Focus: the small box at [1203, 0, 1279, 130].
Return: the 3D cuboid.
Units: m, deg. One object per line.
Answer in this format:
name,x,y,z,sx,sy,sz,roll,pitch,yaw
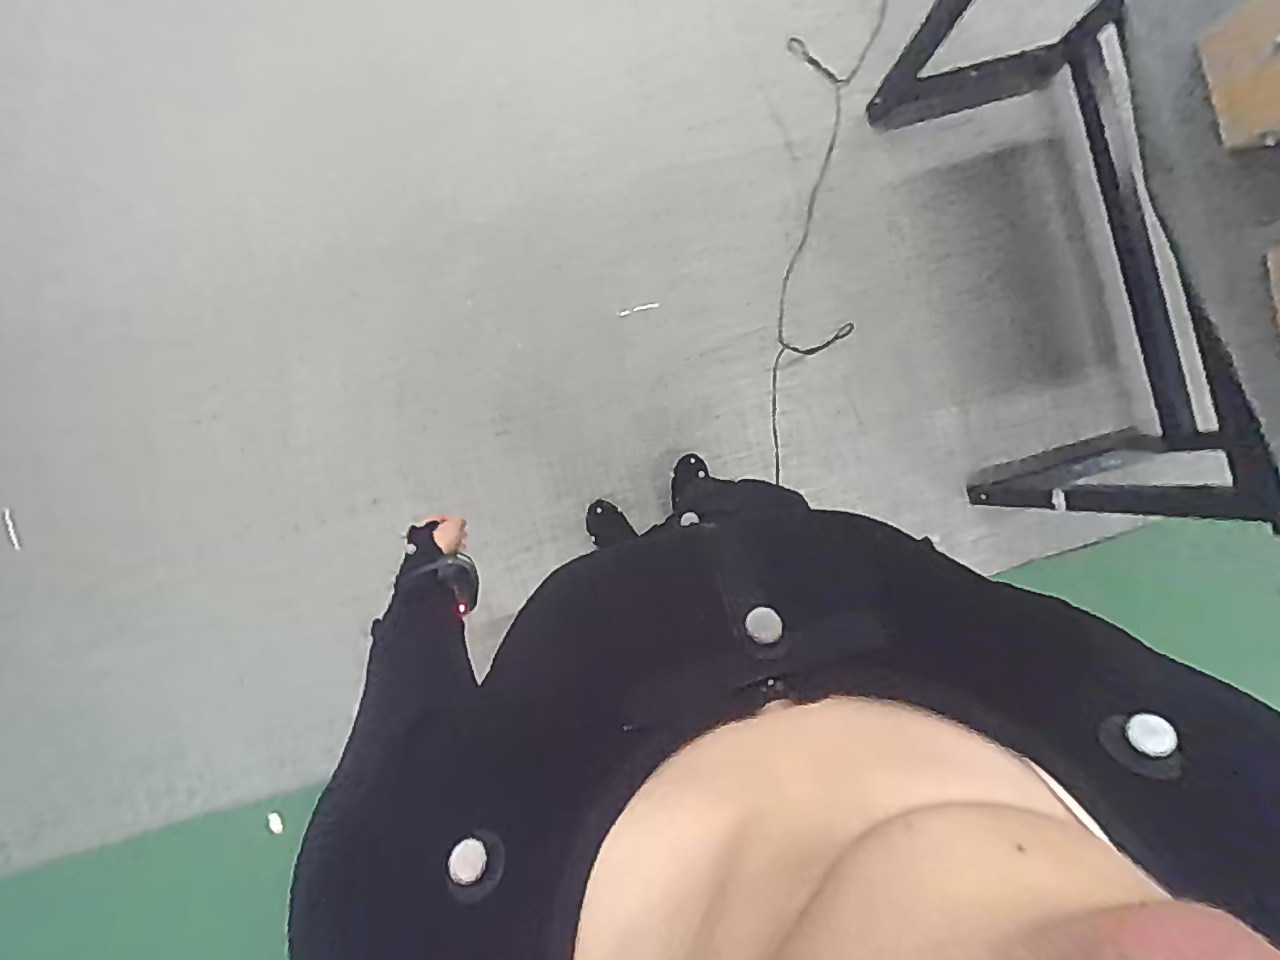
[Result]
small box,0.924,-0.602,0.716,0.168,0.176,0.179,-15,89,-4
